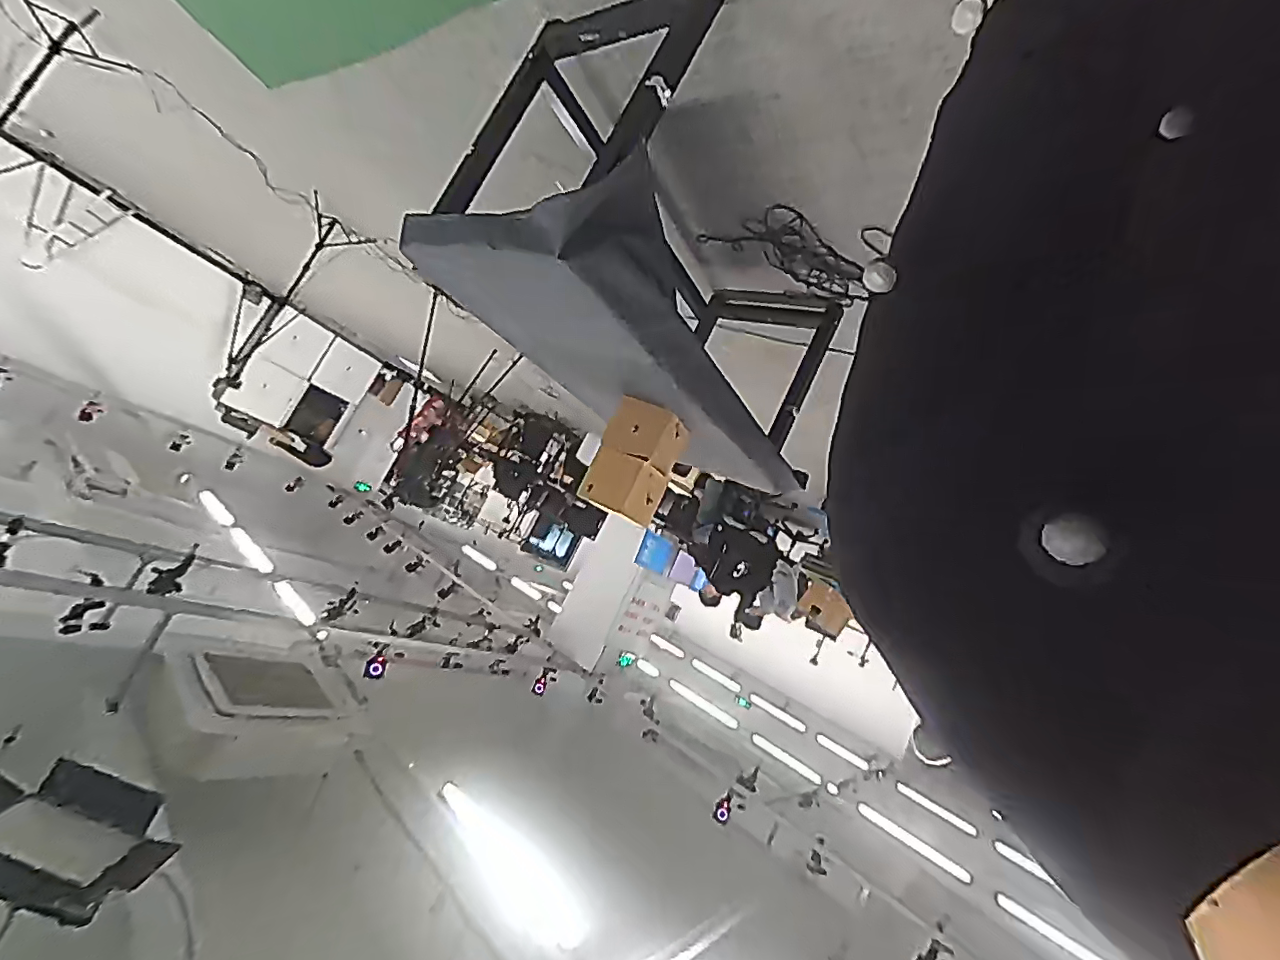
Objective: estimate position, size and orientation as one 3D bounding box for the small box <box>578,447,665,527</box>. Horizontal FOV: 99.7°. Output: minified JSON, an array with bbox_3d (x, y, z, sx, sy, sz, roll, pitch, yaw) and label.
[{"bbox_3d":[-0.045,0.017,1.593,0.179,0.176,0.168,21,171,35],"label":"small box"}]
